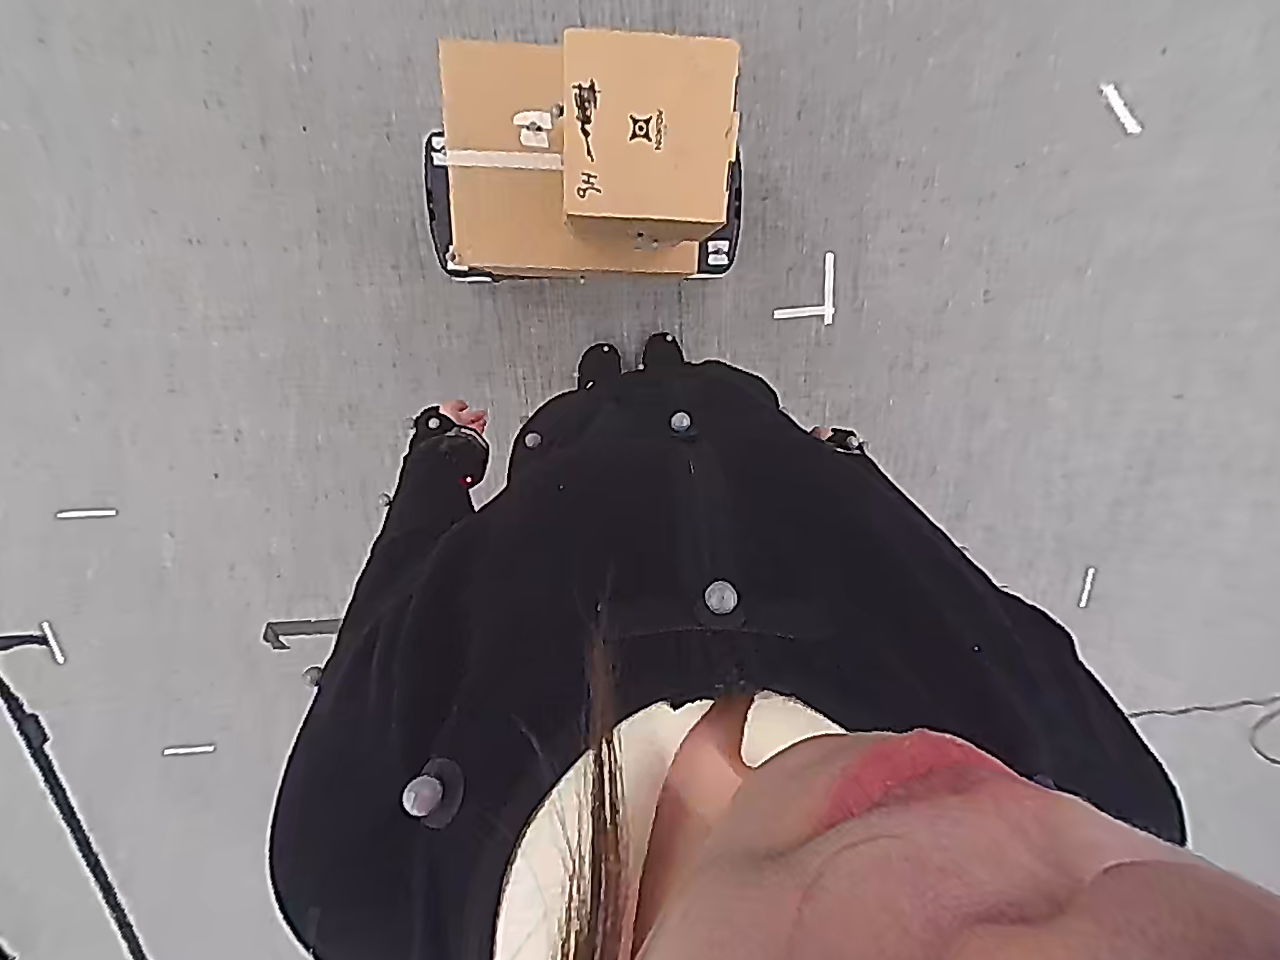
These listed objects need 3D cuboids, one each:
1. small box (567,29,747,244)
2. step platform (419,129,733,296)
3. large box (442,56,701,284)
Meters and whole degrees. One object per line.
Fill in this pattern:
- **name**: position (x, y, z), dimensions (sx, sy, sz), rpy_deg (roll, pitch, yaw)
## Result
- **small box**: position (0.009, -0.372, 0.619), dimensions (0.179, 0.176, 0.168), rpy_deg (1, 107, -5)
- **step platform**: position (-0.134, -0.587, 1.222), dimensions (0.684, 0.204, 0.286), rpy_deg (3, 107, -3)
- **large box**: position (-0.101, -0.528, 0.993), dimensions (0.408, 0.320, 0.320), rpy_deg (0, 106, -2)
